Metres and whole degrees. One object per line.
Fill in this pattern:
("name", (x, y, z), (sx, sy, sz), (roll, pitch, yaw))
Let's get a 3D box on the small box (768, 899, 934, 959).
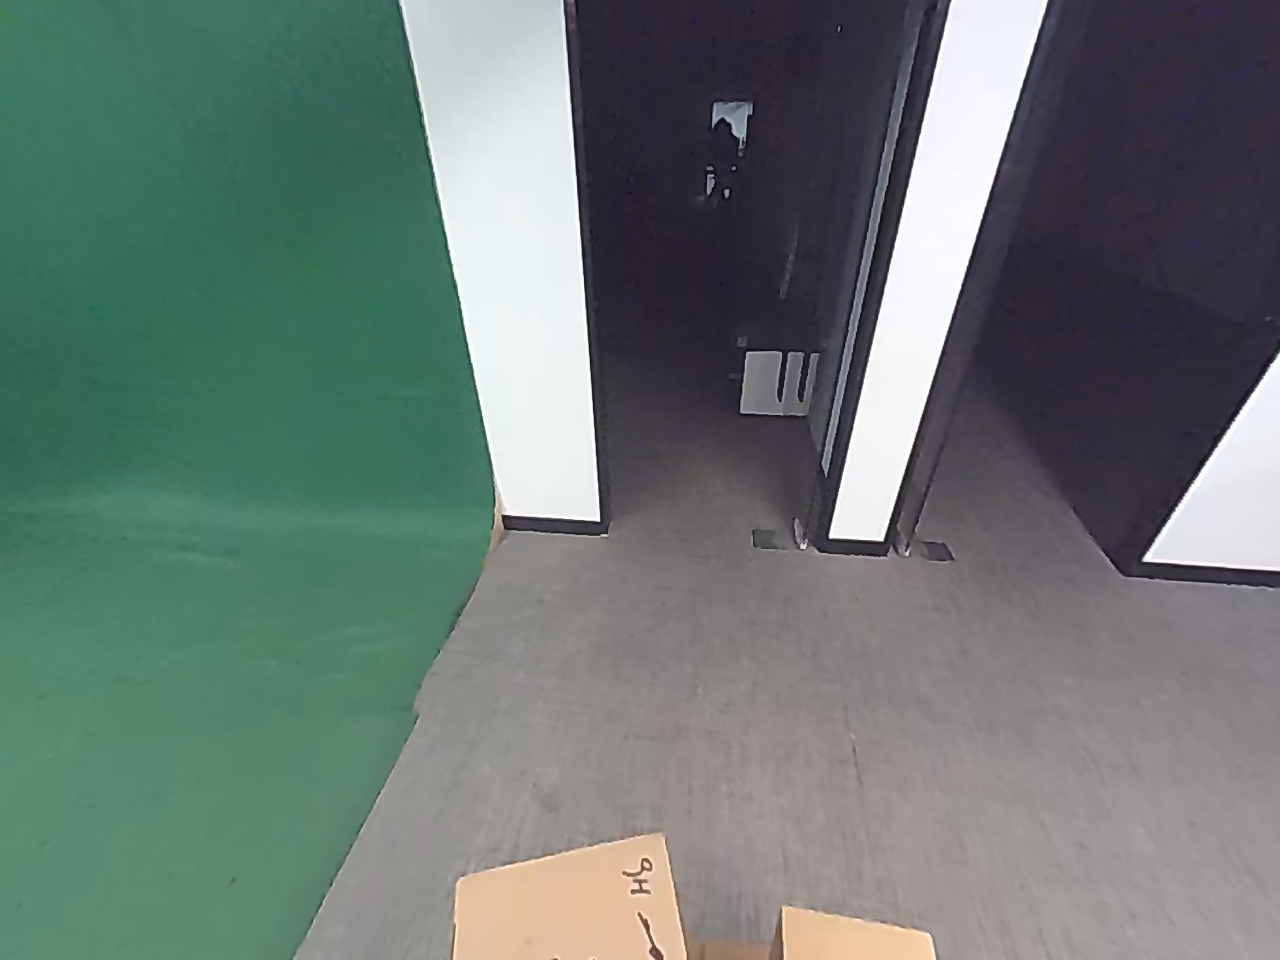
("small box", (0.233, 0.618, 0.601), (0.168, 0.176, 0.179), (4, 33, 10))
